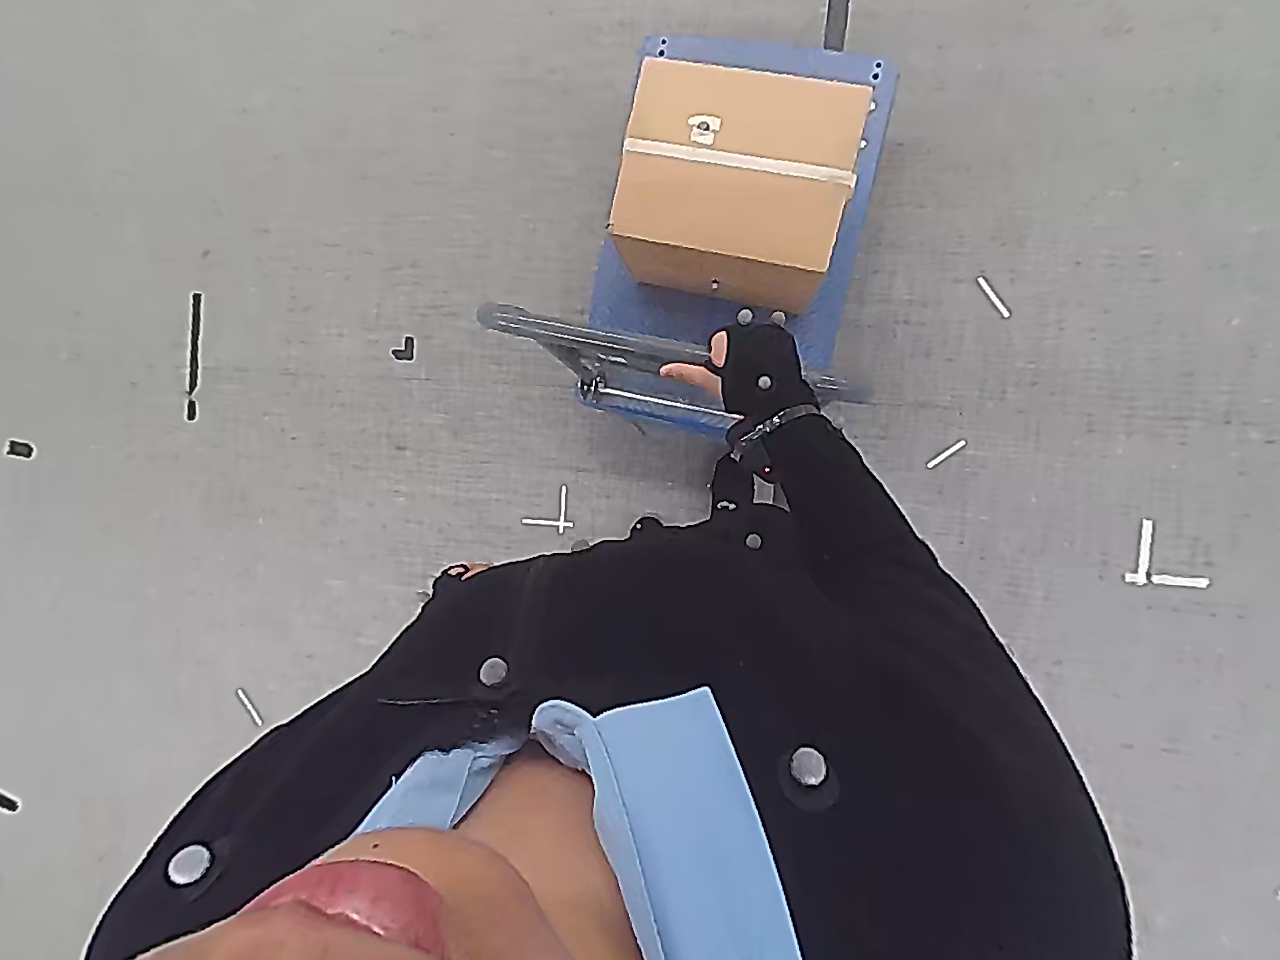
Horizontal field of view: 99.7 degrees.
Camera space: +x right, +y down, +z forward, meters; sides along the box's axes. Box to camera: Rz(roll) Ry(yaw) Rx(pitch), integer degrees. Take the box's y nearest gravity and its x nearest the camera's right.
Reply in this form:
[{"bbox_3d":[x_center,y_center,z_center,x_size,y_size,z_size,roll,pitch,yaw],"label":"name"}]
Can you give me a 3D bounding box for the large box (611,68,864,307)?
[{"bbox_3d":[0.193,-0.573,1.116,0.408,0.320,0.320,13,95,9],"label":"large box"}]
